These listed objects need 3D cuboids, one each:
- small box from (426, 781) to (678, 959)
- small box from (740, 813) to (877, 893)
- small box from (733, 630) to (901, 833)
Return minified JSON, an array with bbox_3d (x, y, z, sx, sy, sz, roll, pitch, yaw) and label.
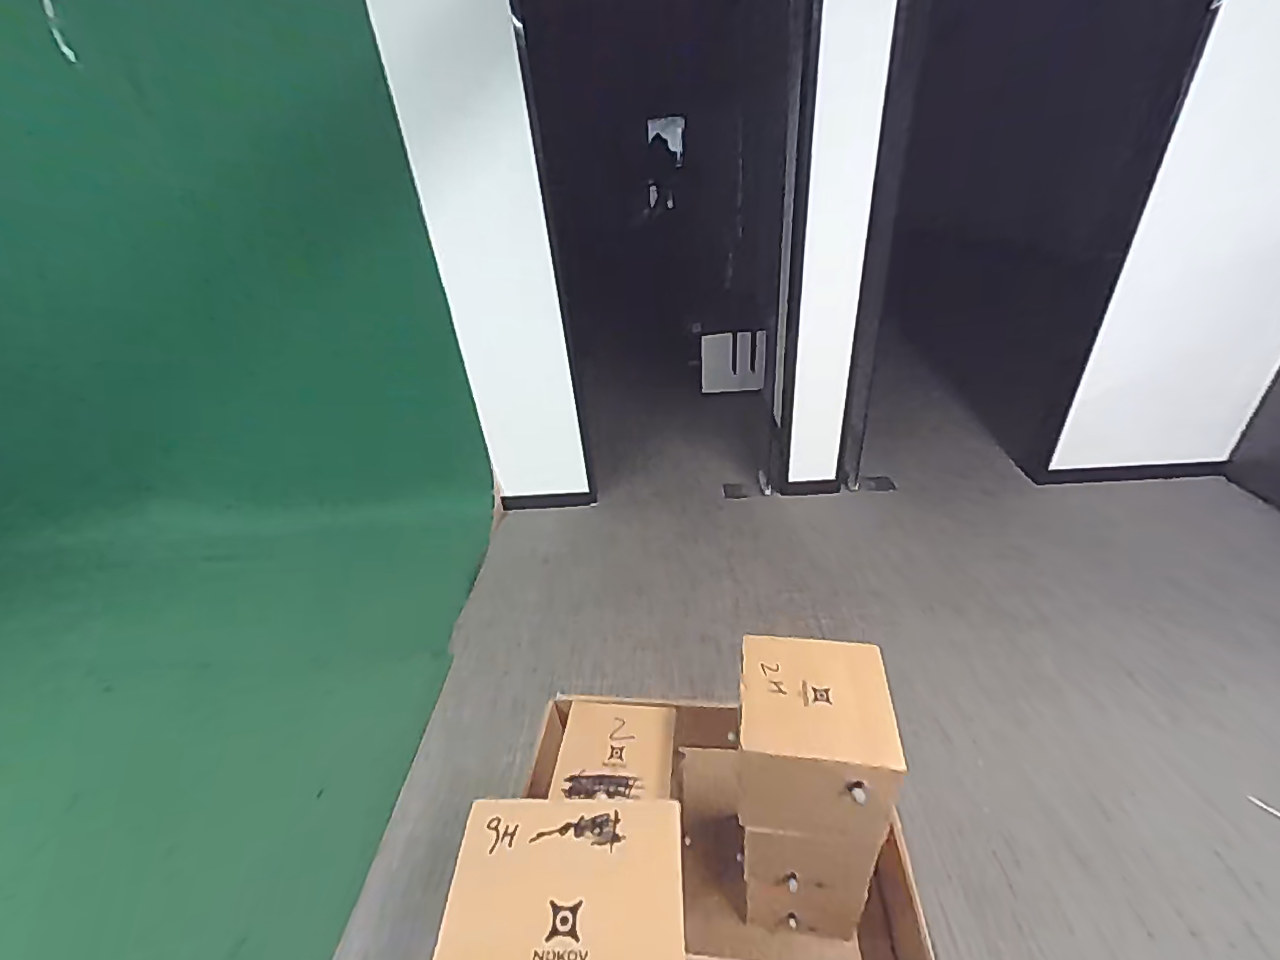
[{"bbox_3d":[-0.054,0.360,0.415,0.168,0.176,0.179,-1,37,2],"label":"small box"},{"bbox_3d":[0.230,0.453,0.783,0.168,0.176,0.179,0,34,11],"label":"small box"},{"bbox_3d":[0.212,0.318,0.690,0.179,0.176,0.168,1,33,13],"label":"small box"}]
